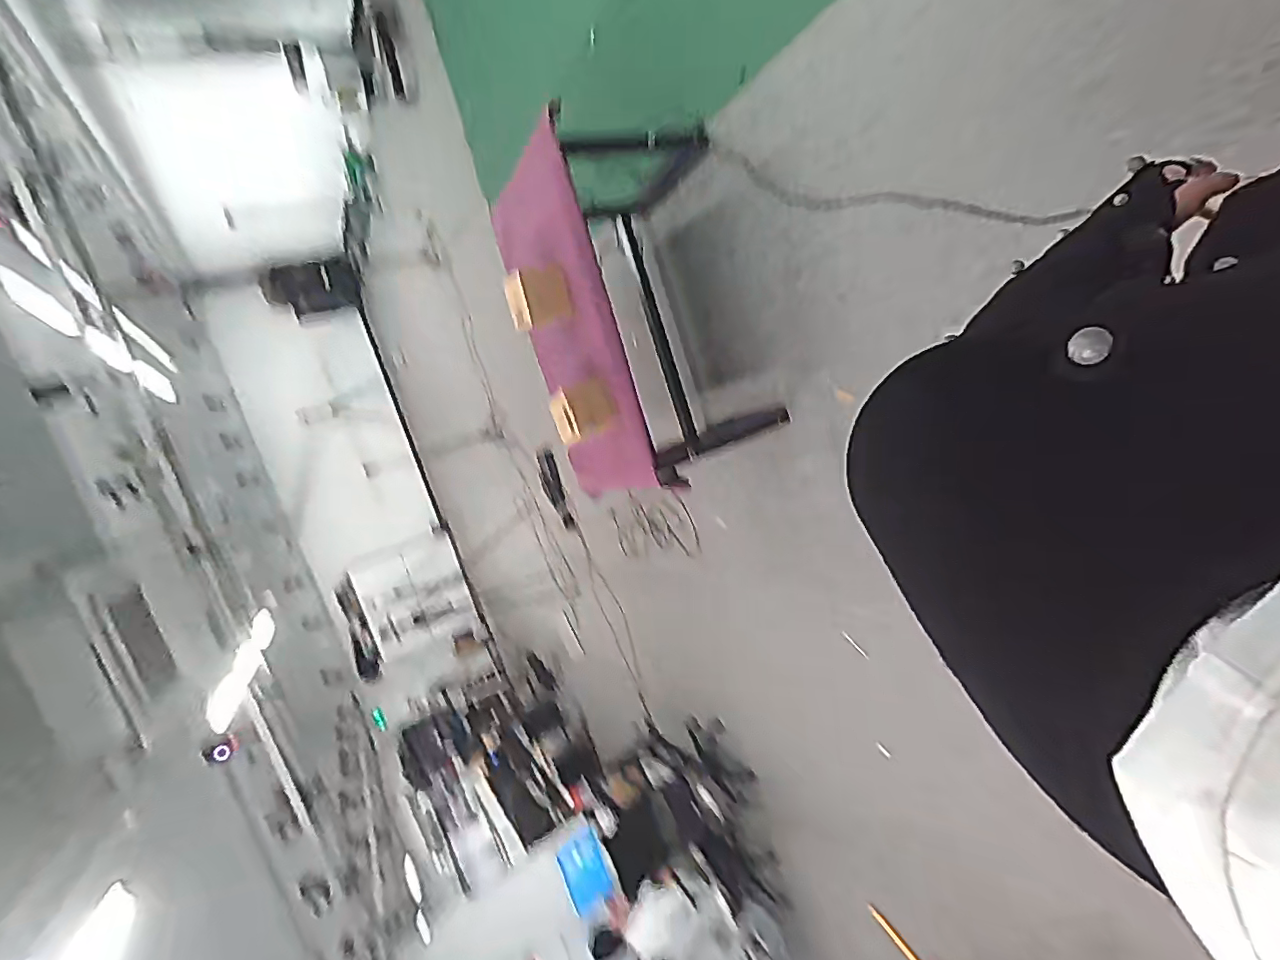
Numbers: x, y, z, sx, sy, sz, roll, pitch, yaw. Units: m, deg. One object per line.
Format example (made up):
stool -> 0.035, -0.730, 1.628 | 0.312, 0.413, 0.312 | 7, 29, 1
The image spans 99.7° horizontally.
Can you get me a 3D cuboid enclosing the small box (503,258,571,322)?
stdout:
small box -> -0.362, -0.674, 1.920 | 0.168, 0.176, 0.179 | 10, 118, 57
